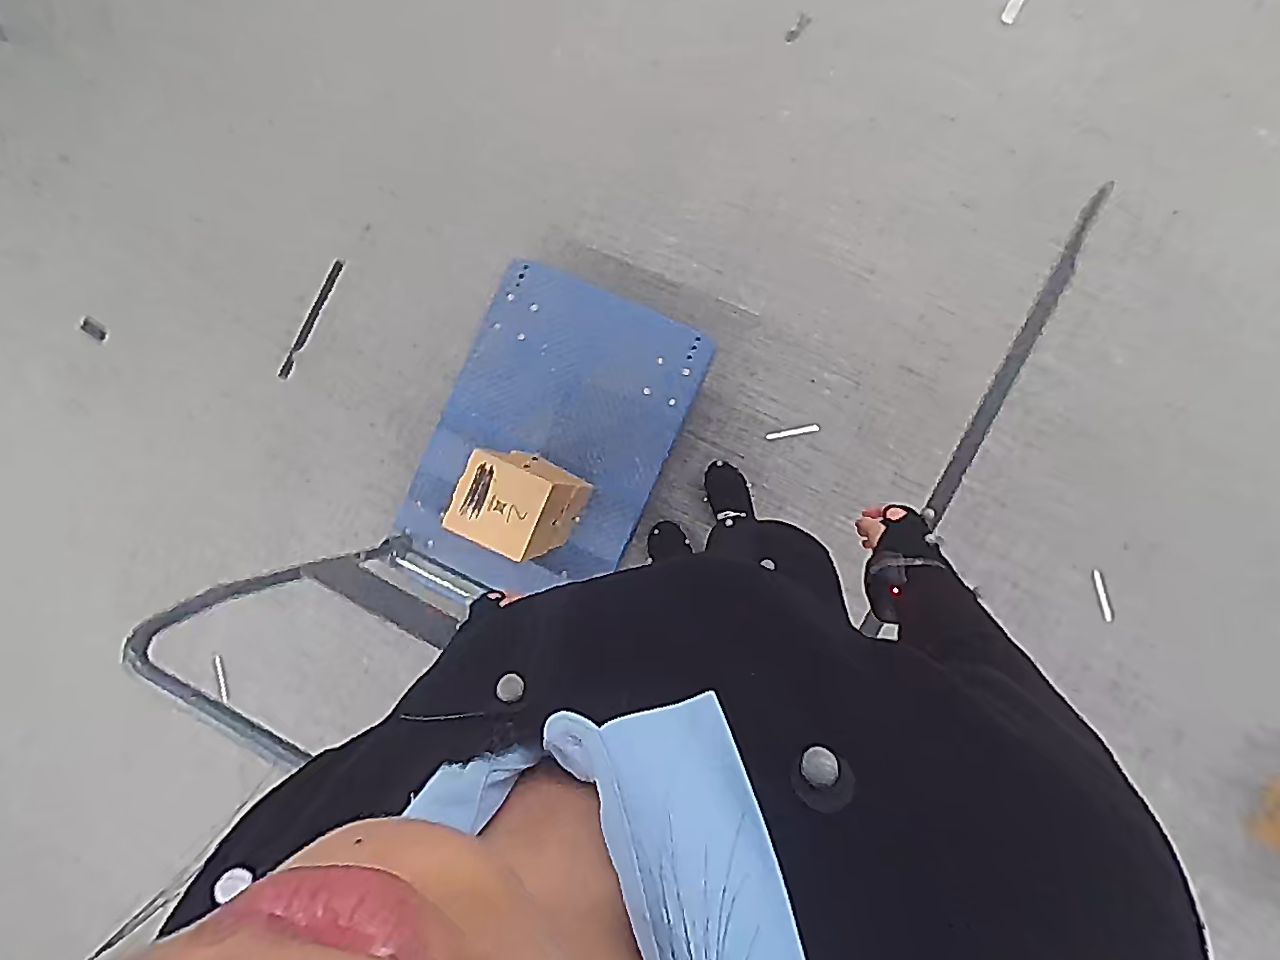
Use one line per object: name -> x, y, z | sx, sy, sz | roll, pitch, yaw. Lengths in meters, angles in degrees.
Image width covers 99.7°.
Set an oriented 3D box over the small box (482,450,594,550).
small box -> -0.230, 0.047, 1.261 | 0.179, 0.176, 0.168 | 28, 93, 7
